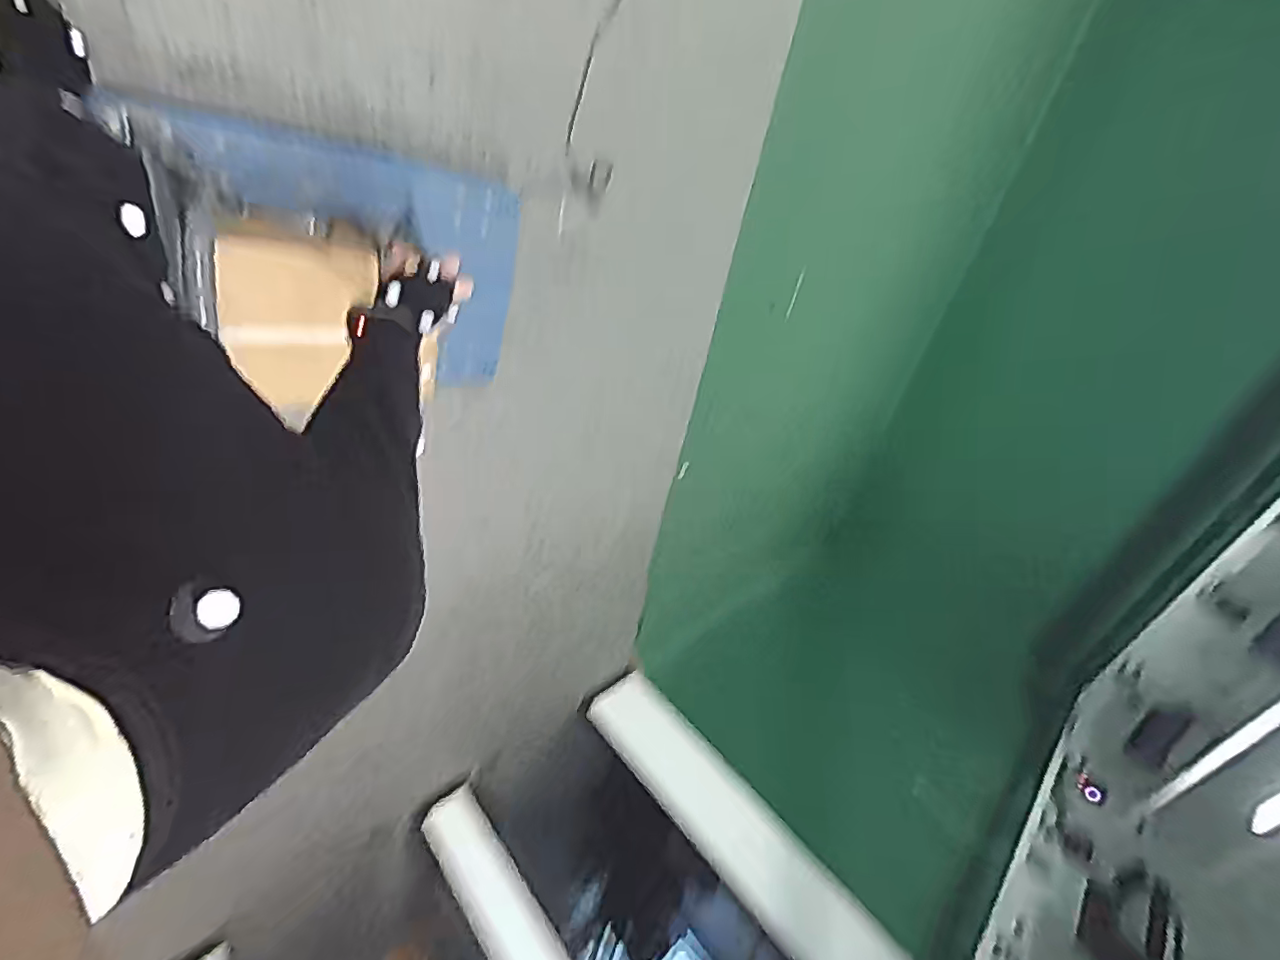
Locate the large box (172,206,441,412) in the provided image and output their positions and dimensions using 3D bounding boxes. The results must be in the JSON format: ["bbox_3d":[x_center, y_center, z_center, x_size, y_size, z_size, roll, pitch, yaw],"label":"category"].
[{"bbox_3d":[-0.697,-0.371,1.165,0.408,0.320,0.320,-15,132,-44],"label":"large box"}]
